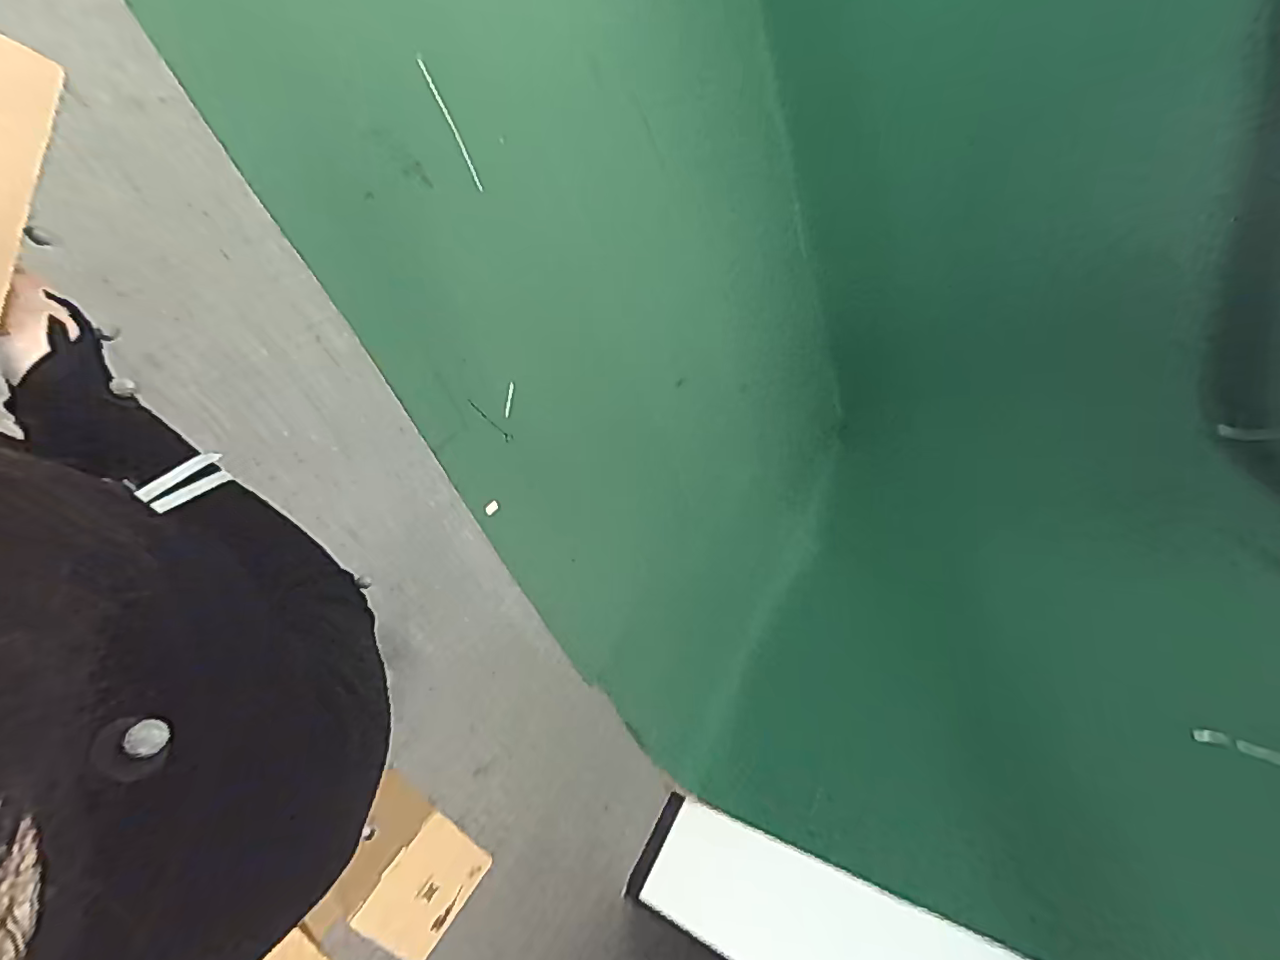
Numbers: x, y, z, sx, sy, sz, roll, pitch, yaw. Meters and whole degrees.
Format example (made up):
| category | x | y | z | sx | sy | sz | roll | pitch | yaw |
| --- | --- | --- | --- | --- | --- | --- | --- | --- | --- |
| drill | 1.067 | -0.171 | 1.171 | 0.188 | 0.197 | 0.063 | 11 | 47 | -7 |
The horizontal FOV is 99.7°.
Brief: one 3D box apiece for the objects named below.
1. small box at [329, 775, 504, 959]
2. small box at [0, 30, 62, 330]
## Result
| category | x | y | z | sx | sy | sz | roll | pitch | yaw |
| --- | --- | --- | --- | --- | --- | --- | --- | --- | --- |
| small box | -0.368 | 0.620 | 0.889 | 0.168 | 0.176 | 0.179 | -48 | 124 | -35 |
| small box | -0.486 | -0.195 | 0.322 | 0.168 | 0.176 | 0.179 | 13 | 85 | -51 |
